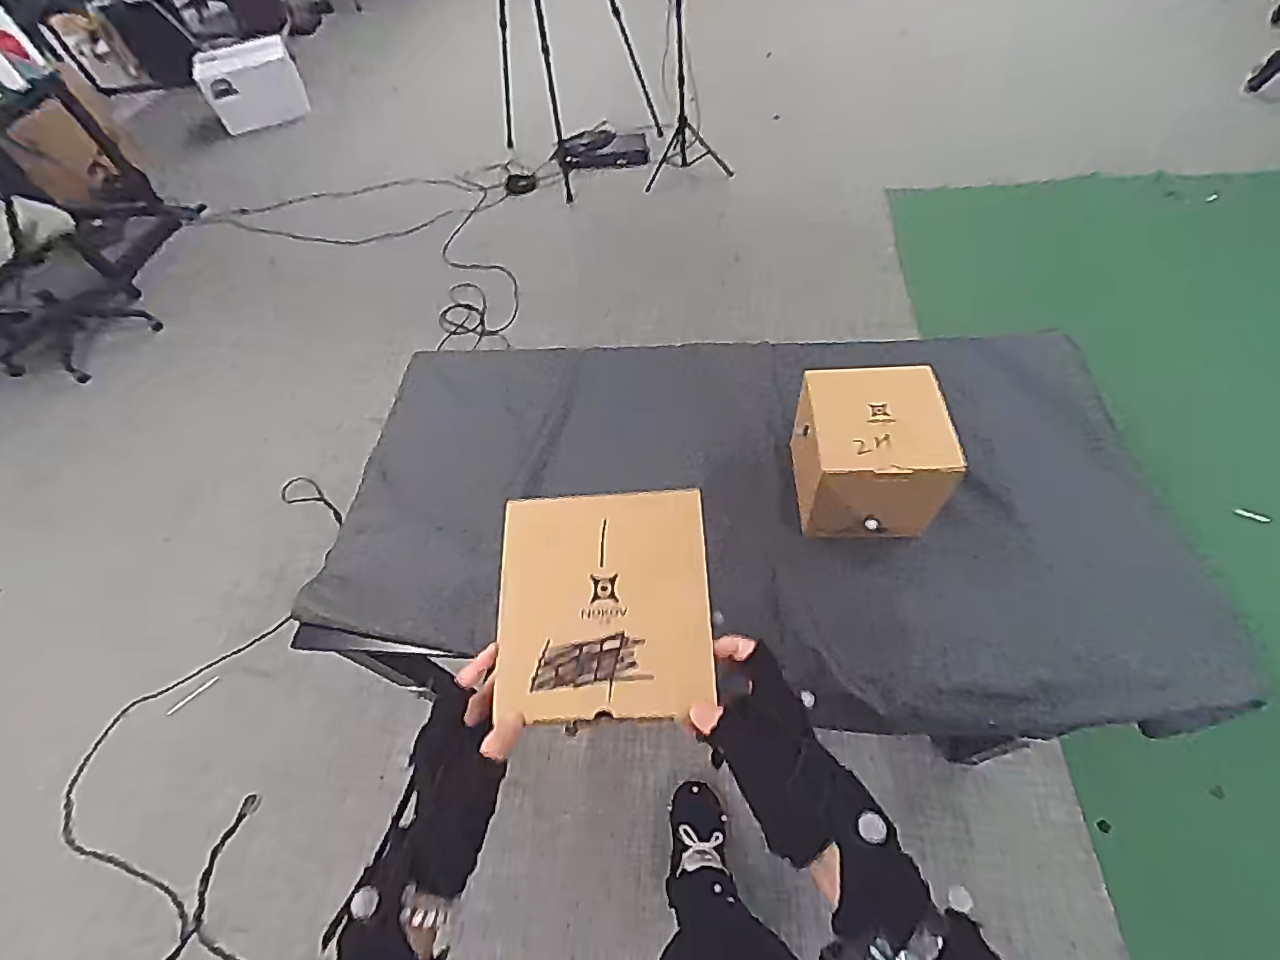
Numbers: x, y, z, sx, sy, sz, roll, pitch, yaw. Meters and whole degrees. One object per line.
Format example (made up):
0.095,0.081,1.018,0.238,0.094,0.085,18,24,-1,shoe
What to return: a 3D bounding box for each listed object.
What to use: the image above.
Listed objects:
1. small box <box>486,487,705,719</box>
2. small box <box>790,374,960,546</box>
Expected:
-0.027,0.120,0.497,0.168,0.176,0.179,-3,66,4,small box
0.308,-0.026,0.754,0.168,0.176,0.179,-1,55,7,small box
